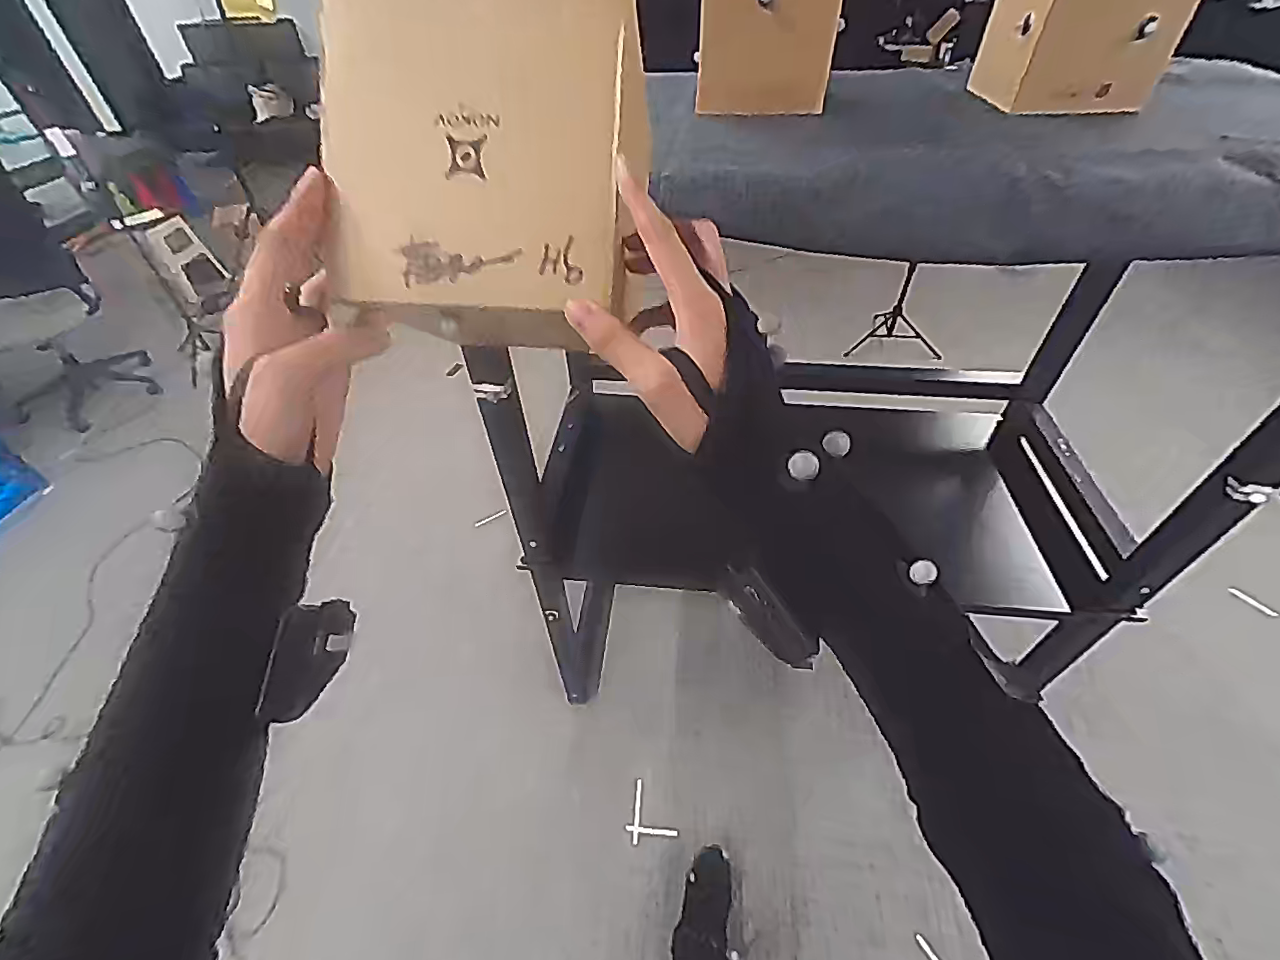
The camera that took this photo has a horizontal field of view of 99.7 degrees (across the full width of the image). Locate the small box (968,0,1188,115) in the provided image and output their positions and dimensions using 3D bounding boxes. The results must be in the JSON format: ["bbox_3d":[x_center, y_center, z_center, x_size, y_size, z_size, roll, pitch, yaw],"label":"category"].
[{"bbox_3d":[0.571,-0.596,0.711,0.168,0.176,0.179,3,46,4],"label":"small box"}]

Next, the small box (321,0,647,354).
[{"bbox_3d":[-0.085,-0.192,0.371,0.168,0.179,0.176,4,6,5],"label":"small box"}]

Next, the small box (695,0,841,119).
[{"bbox_3d":[0.173,-0.620,0.753,0.179,0.176,0.168,4,46,7],"label":"small box"}]
